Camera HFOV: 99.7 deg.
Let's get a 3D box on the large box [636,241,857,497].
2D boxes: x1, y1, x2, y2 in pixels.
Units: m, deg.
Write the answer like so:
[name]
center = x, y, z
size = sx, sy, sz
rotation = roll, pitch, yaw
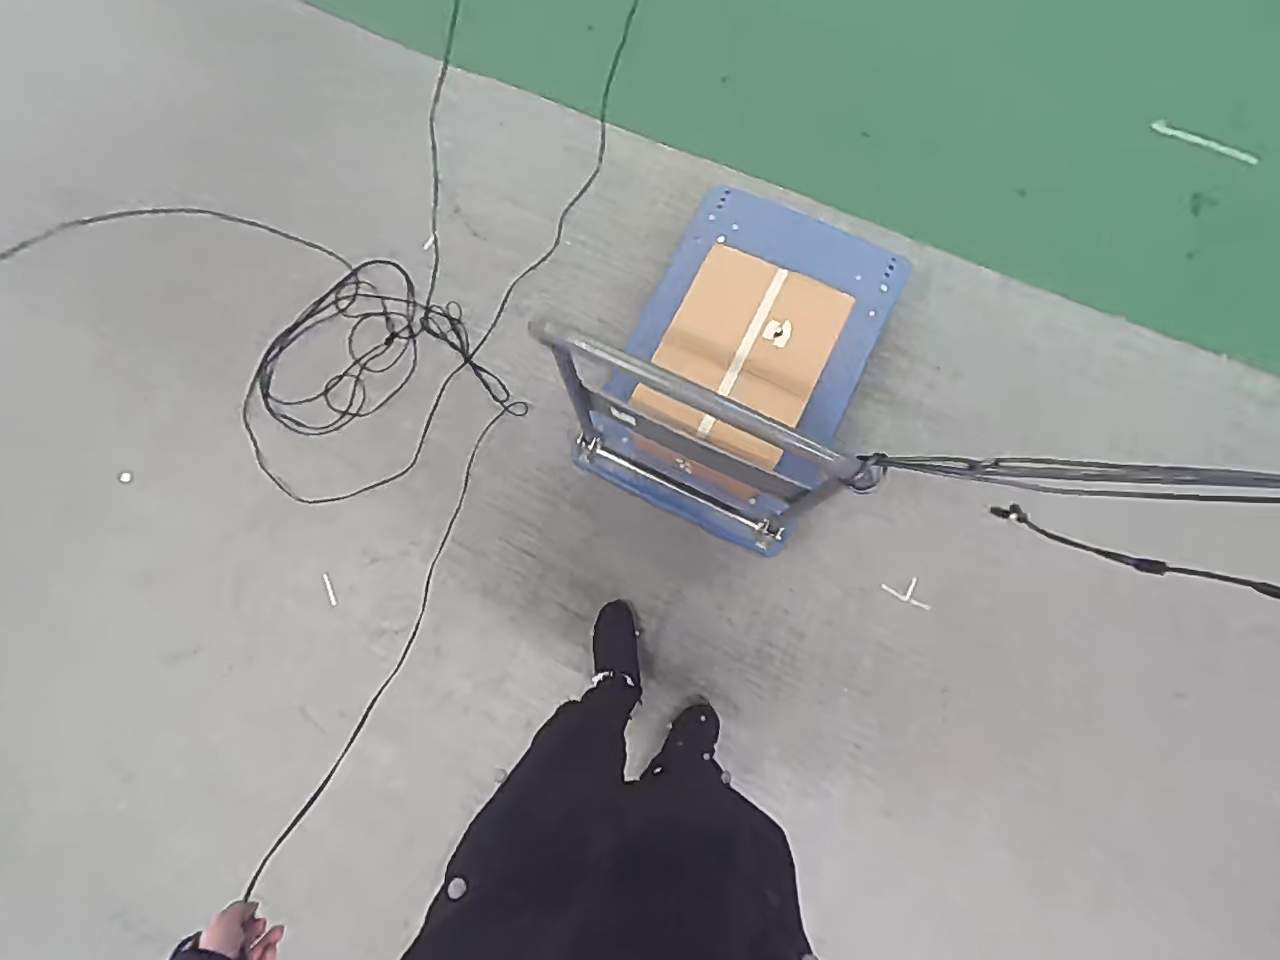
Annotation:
[large box]
center = 0.217, -0.221, 1.196
size = 0.320, 0.320, 0.408
rotation = 25, 81, 7
